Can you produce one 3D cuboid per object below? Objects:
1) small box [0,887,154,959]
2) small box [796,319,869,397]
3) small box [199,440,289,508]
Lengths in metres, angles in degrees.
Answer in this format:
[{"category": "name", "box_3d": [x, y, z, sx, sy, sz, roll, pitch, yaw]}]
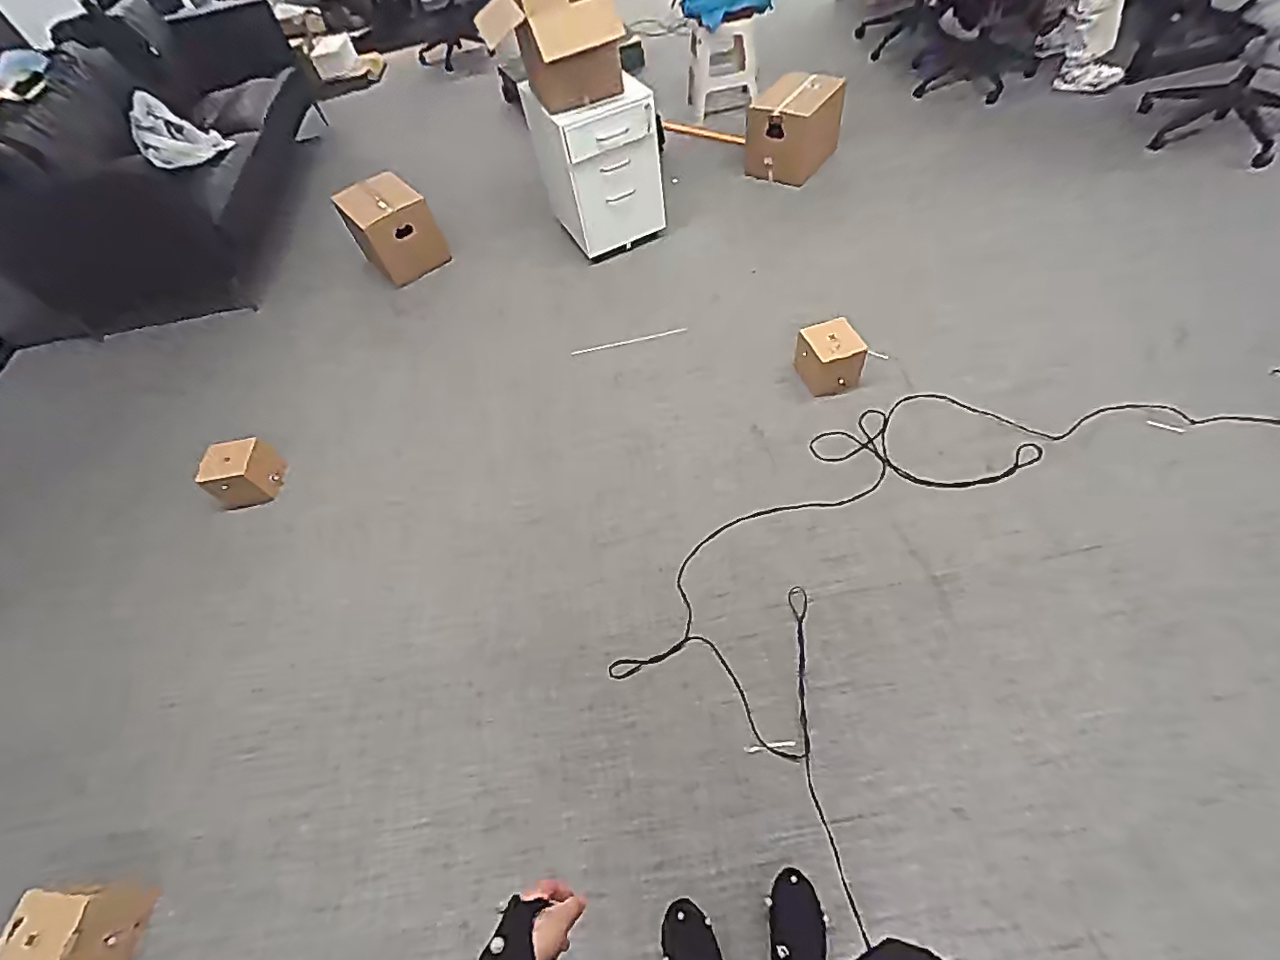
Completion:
[{"category": "small box", "box_3d": [-1.251, 1.014, 1.195, 0.179, 0.176, 0.168, 0, 56, 9]}, {"category": "small box", "box_3d": [0.656, -0.419, 1.870, 0.168, 0.176, 0.179, -18, 56, -3]}, {"category": "small box", "box_3d": [-1.414, -0.017, 1.943, 0.179, 0.176, 0.168, -10, 56, 1]}]
